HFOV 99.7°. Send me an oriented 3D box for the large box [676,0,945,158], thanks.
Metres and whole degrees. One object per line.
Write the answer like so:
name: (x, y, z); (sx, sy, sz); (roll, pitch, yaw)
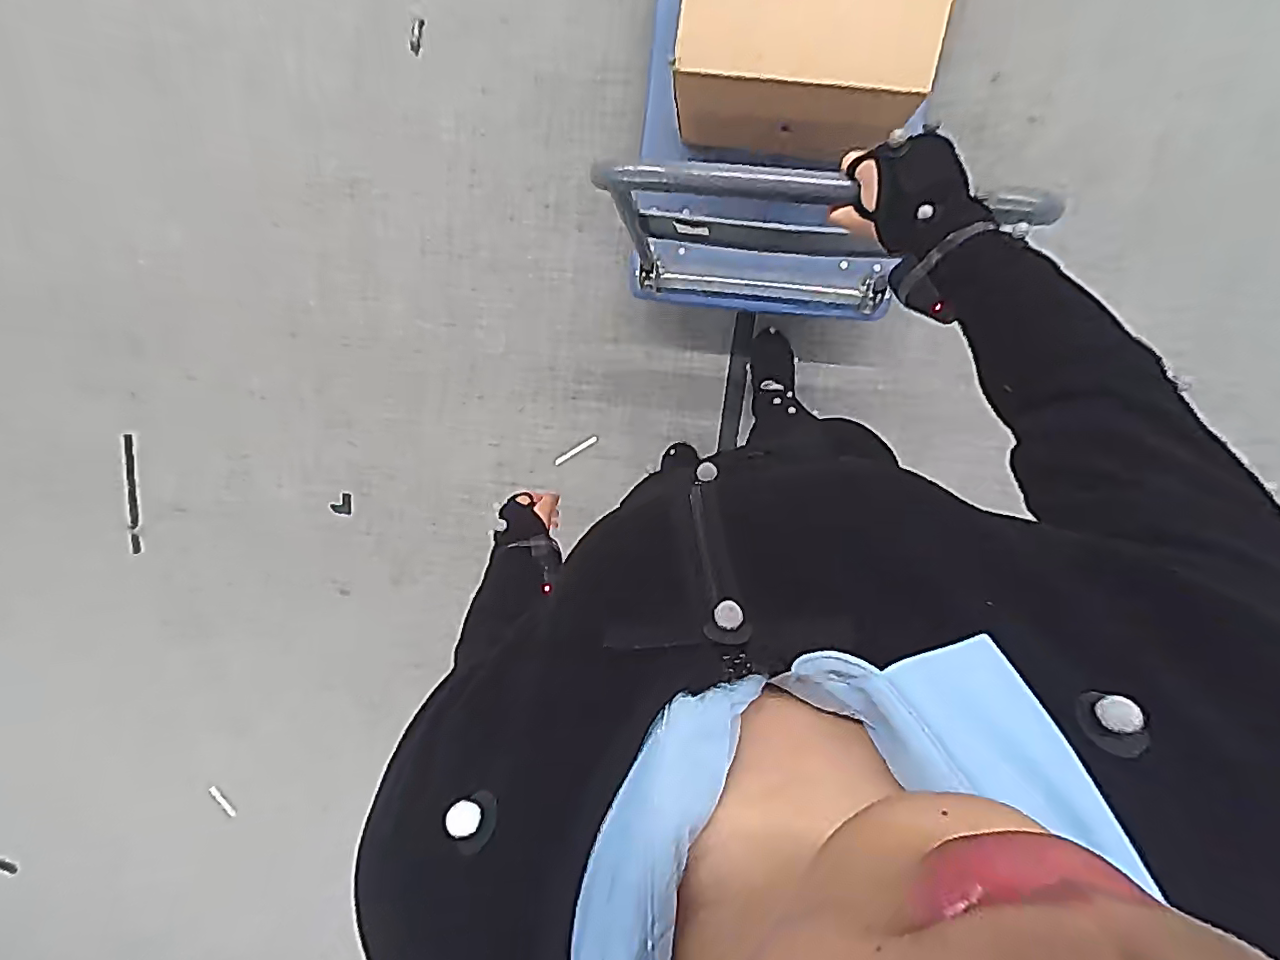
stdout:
large box: (0.293, -0.815, 0.977); (0.408, 0.320, 0.320); (9, 102, 6)
